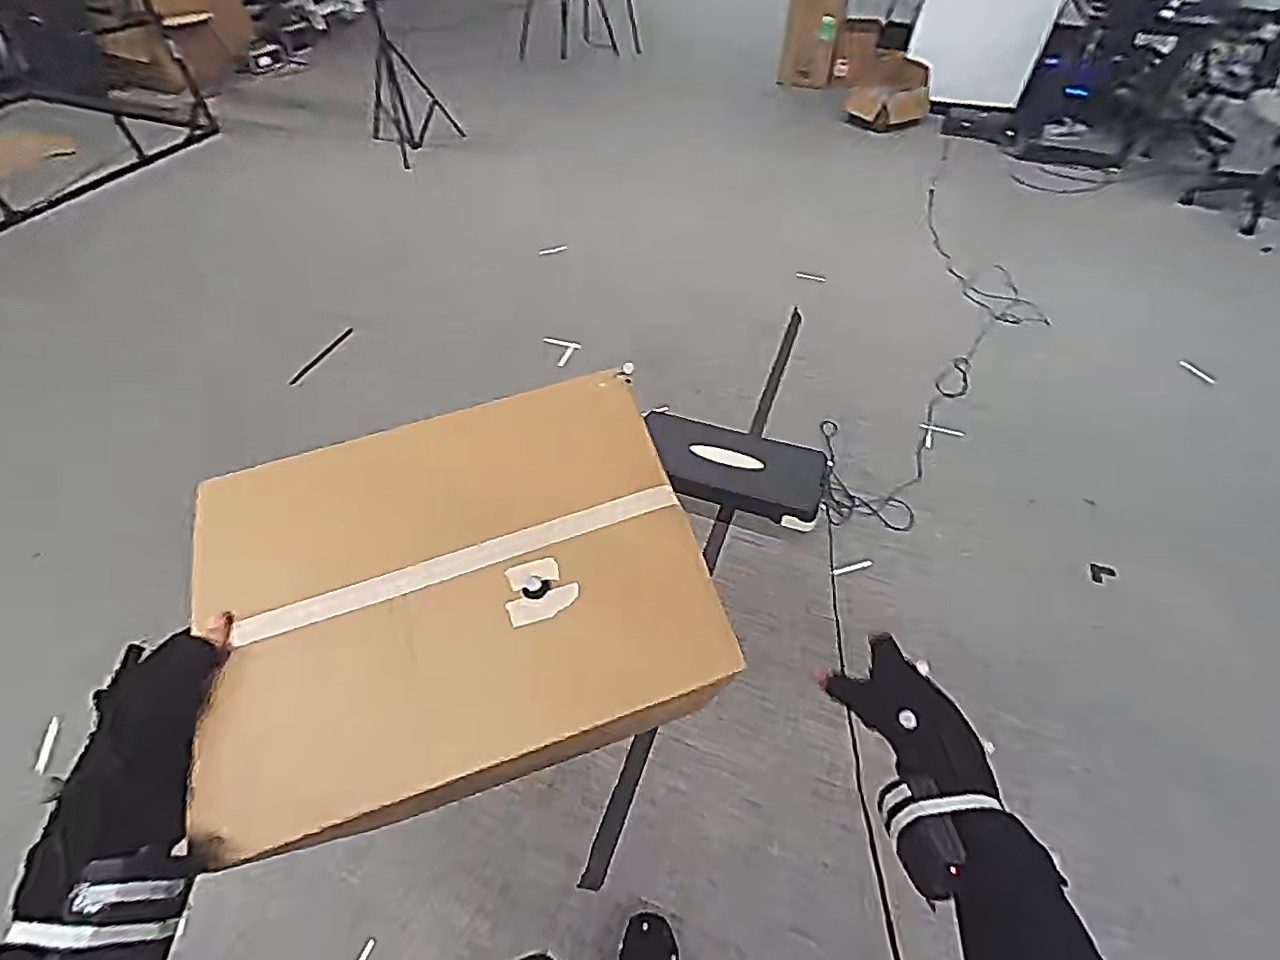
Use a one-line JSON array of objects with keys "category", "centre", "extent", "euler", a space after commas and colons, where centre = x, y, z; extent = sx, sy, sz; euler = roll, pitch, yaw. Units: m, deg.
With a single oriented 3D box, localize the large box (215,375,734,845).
[{"category": "large box", "centre": [-0.157, 0.143, 0.603], "extent": [0.408, 0.320, 0.320], "euler": [-17, 64, -9]}]
